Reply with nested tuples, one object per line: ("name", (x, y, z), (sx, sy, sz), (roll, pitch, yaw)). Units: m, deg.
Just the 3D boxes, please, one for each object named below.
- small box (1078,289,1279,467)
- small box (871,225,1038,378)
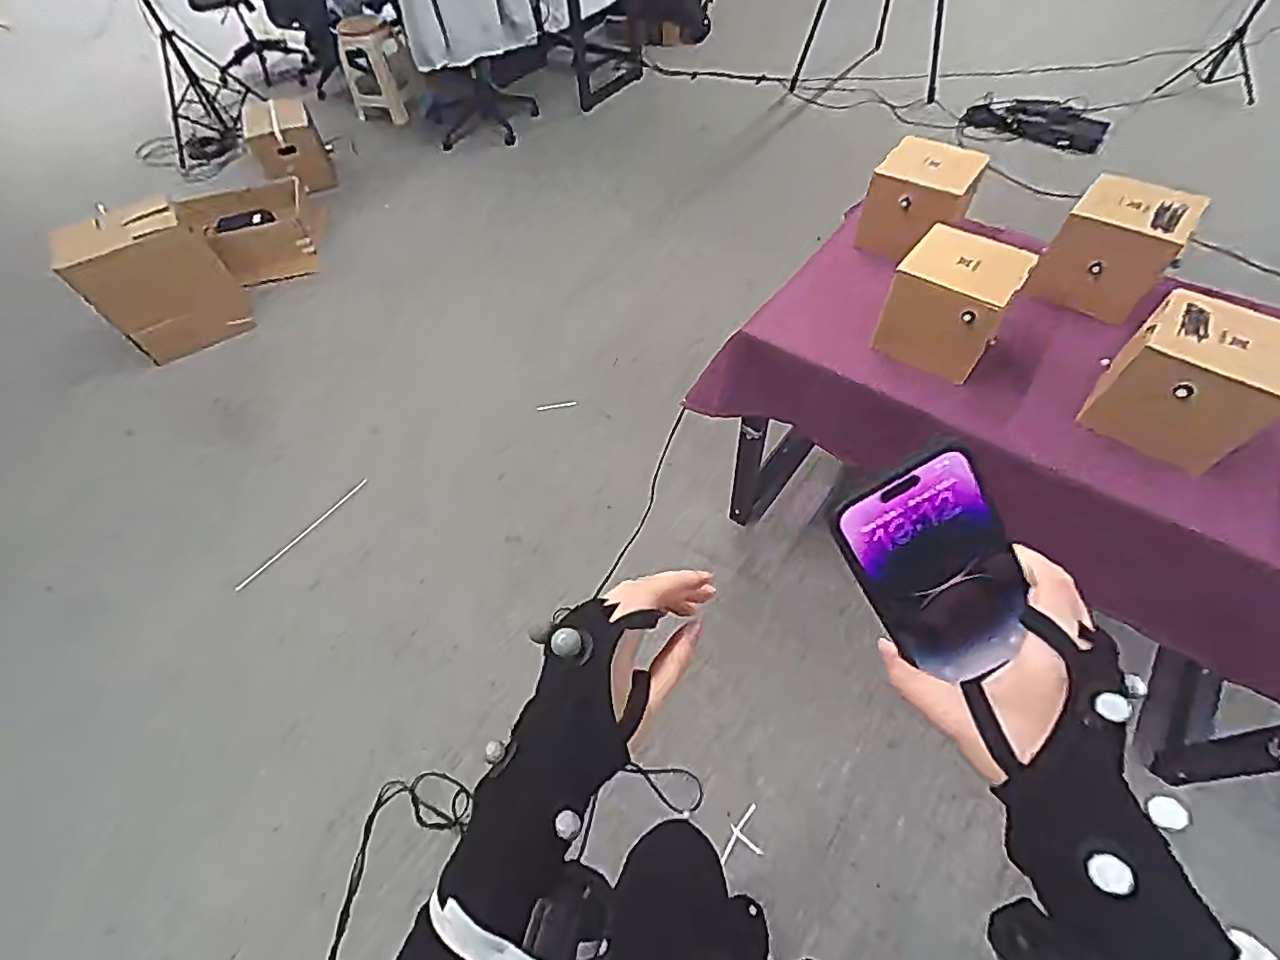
("small box", (0.826, -0.150, 0.821), (0.179, 0.176, 0.168), (35, 65, 24))
("small box", (0.541, -0.310, 0.954), (0.179, 0.176, 0.168), (34, 64, 23))
